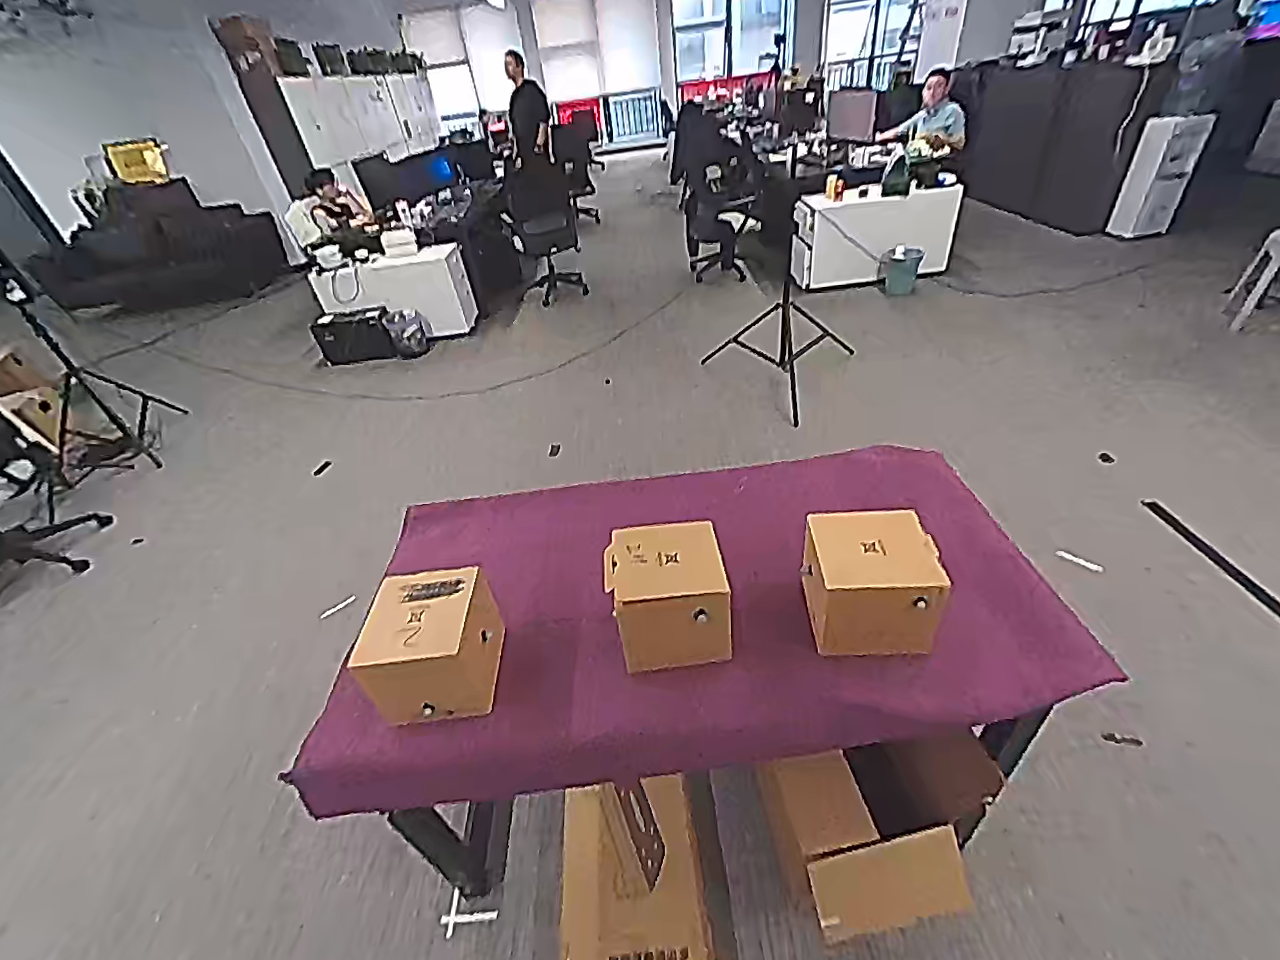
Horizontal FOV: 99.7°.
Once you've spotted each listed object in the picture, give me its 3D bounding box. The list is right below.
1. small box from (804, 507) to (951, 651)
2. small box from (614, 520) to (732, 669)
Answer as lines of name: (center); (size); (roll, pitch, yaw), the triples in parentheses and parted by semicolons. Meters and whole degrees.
small box: (0.370, 0.164, 0.883); (0.179, 0.176, 0.168); (-3, 38, 6)
small box: (0.054, 0.192, 0.907); (0.179, 0.176, 0.168); (-8, 35, 1)
